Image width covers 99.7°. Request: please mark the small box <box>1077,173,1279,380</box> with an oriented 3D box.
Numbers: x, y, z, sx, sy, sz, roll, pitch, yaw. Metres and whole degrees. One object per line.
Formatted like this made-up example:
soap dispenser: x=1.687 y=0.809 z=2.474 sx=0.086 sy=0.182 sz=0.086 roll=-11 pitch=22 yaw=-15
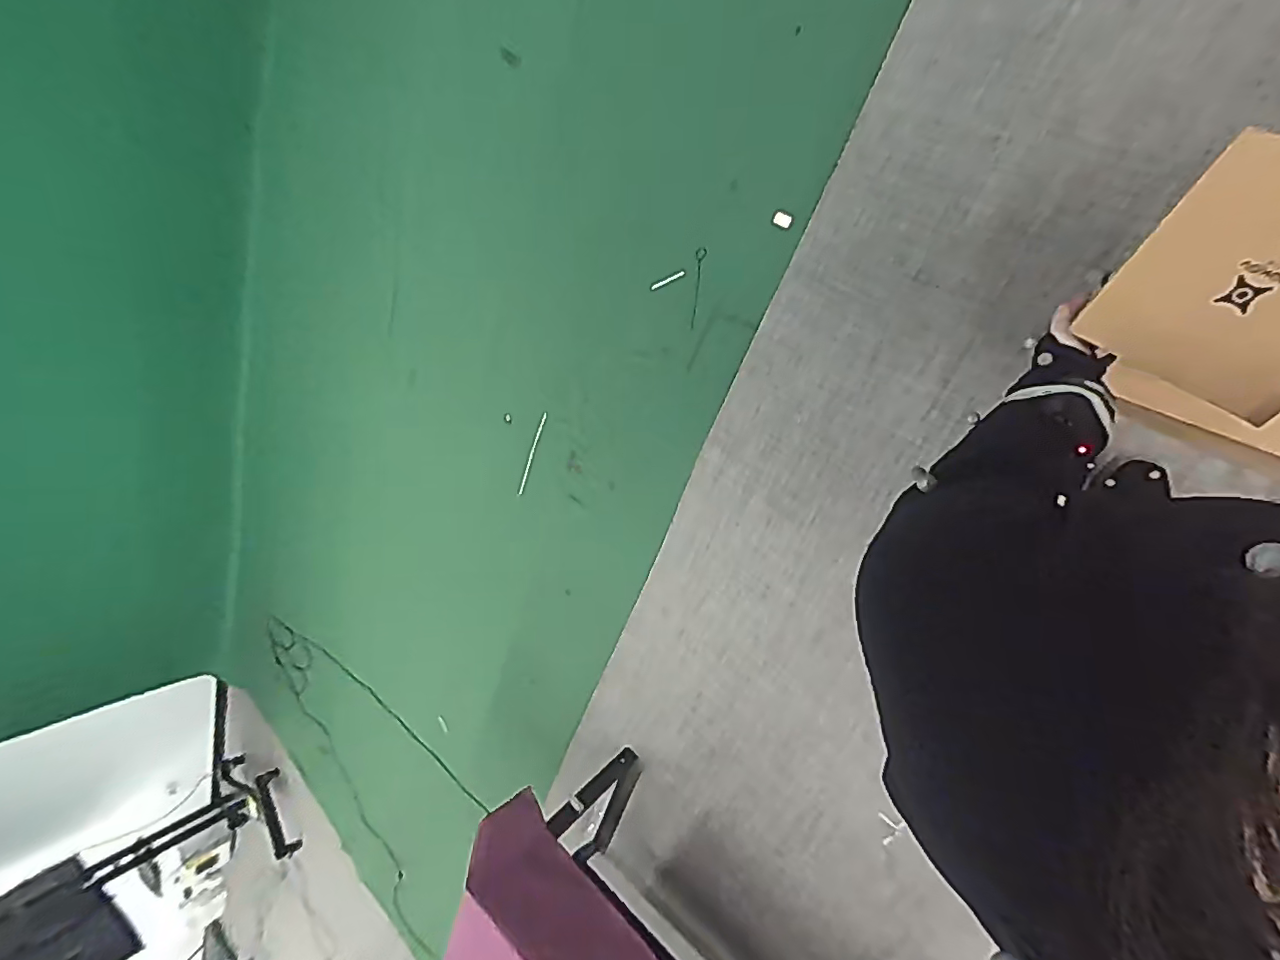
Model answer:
small box: x=0.677 y=-0.236 z=0.660 sx=0.168 sy=0.176 sz=0.179 roll=34 pitch=116 yaw=24
